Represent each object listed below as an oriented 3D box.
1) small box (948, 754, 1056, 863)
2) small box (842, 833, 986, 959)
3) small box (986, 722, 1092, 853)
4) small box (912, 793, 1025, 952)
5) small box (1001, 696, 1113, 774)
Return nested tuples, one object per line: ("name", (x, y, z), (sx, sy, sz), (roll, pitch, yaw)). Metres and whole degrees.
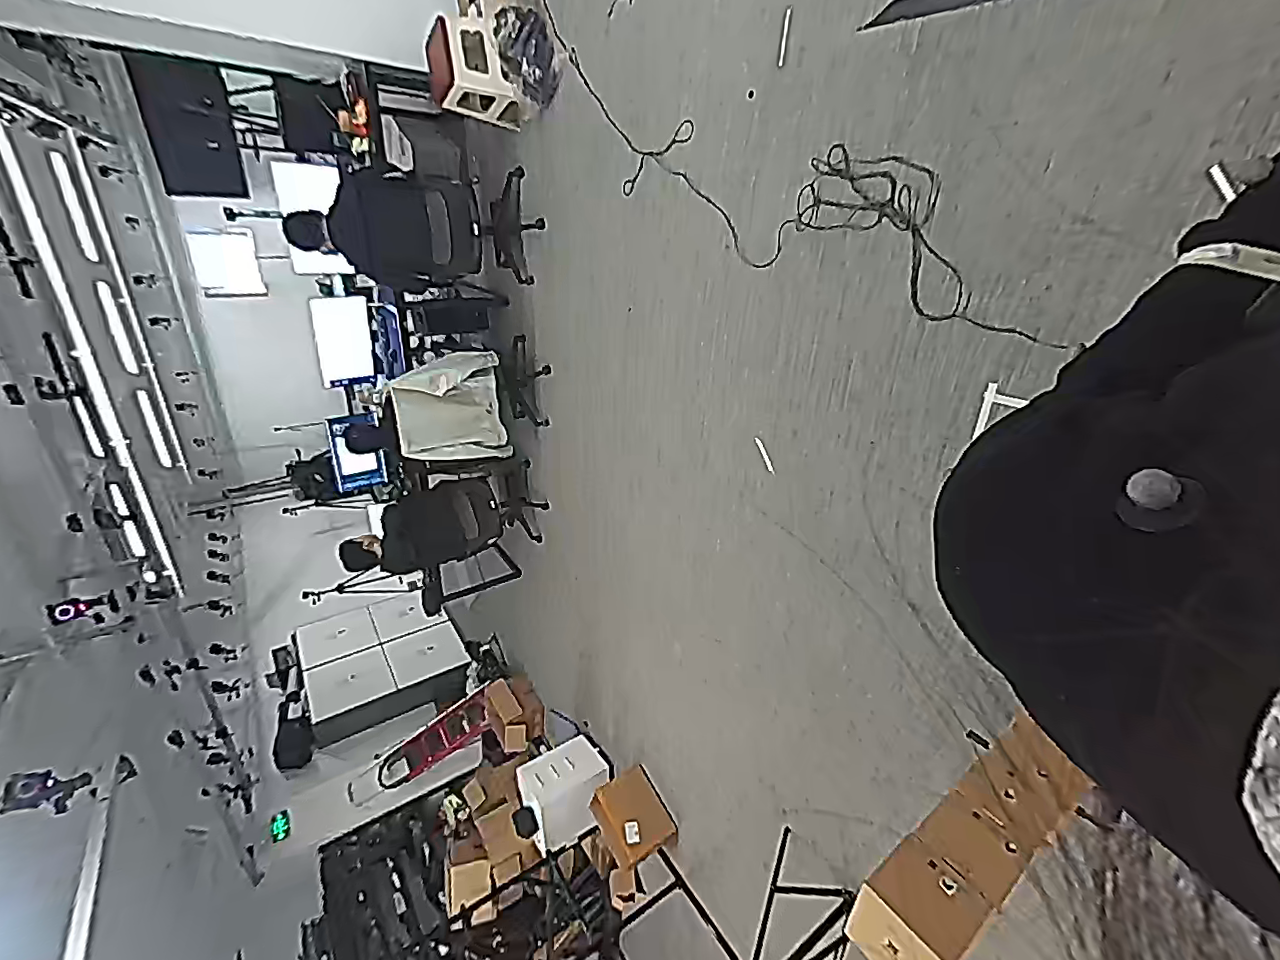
("small box", (0.781, 0.754, 1.201), (0.168, 0.176, 0.179), (36, 130, 44))
("small box", (0.518, 0.829, 1.024), (0.168, 0.176, 0.179), (32, 127, 45))
("small box", (0.918, 0.719, 1.283), (0.179, 0.176, 0.168), (36, 130, 43))
("small box", (0.650, 0.794, 1.110), (0.168, 0.176, 0.179), (35, 131, 44))
("small box", (1.047, 0.683, 1.379), (0.179, 0.176, 0.168), (34, 129, 45))
